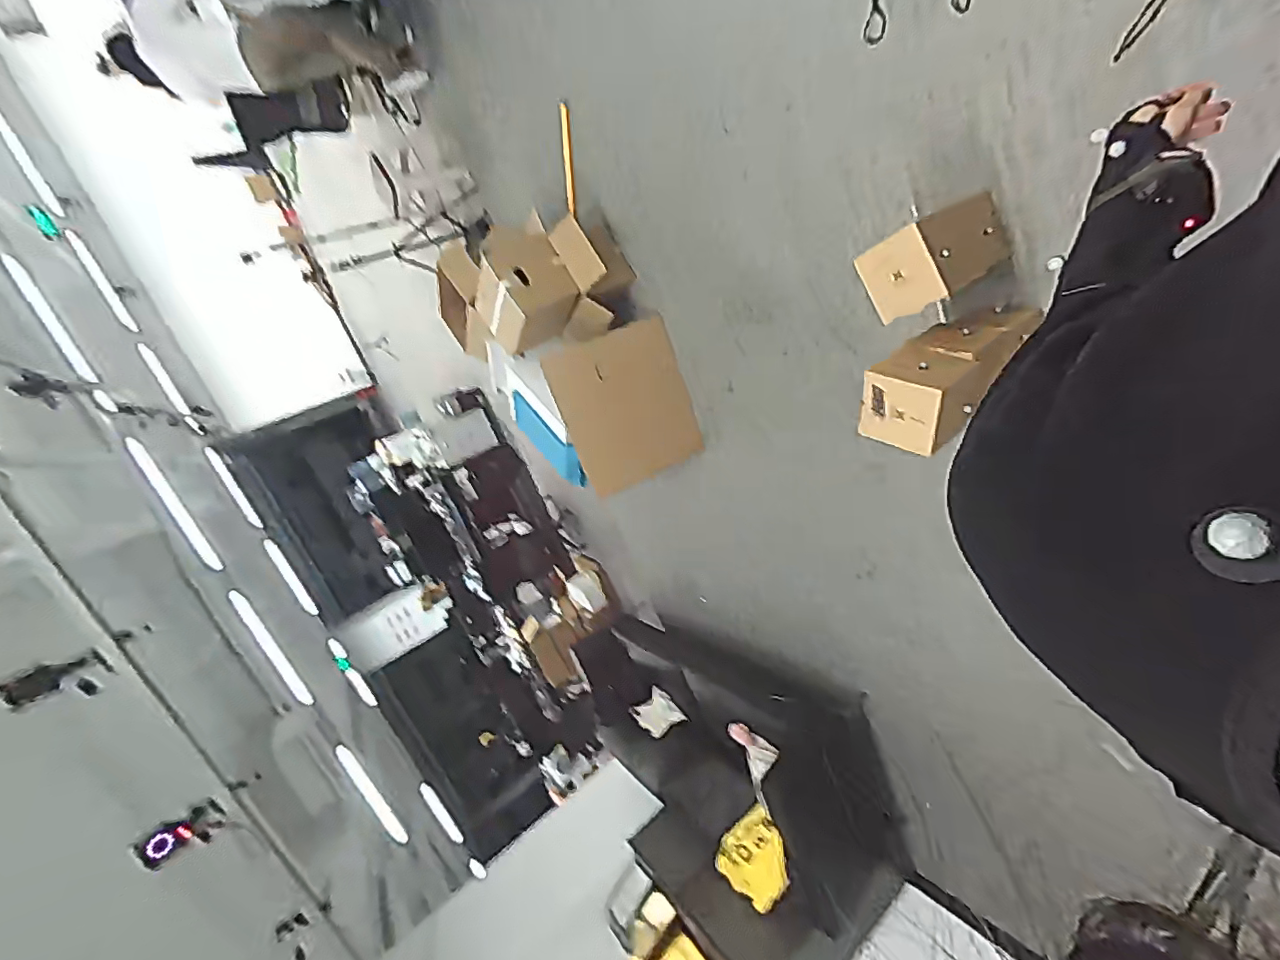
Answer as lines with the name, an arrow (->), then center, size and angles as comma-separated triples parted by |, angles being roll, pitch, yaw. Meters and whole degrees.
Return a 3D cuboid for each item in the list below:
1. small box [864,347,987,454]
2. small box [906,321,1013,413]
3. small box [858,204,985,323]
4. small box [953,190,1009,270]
small box -> 0.638, -0.187, 1.219 | 0.179, 0.176, 0.168 | 30, 141, 44
small box -> 0.760, -0.264, 1.297 | 0.168, 0.176, 0.179 | 27, 139, 49
small box -> 0.649, -0.496, 1.242 | 0.179, 0.176, 0.168 | 61, 153, -5
small box -> 0.766, -0.577, 1.323 | 0.179, 0.176, 0.168 | -10, 109, 63
